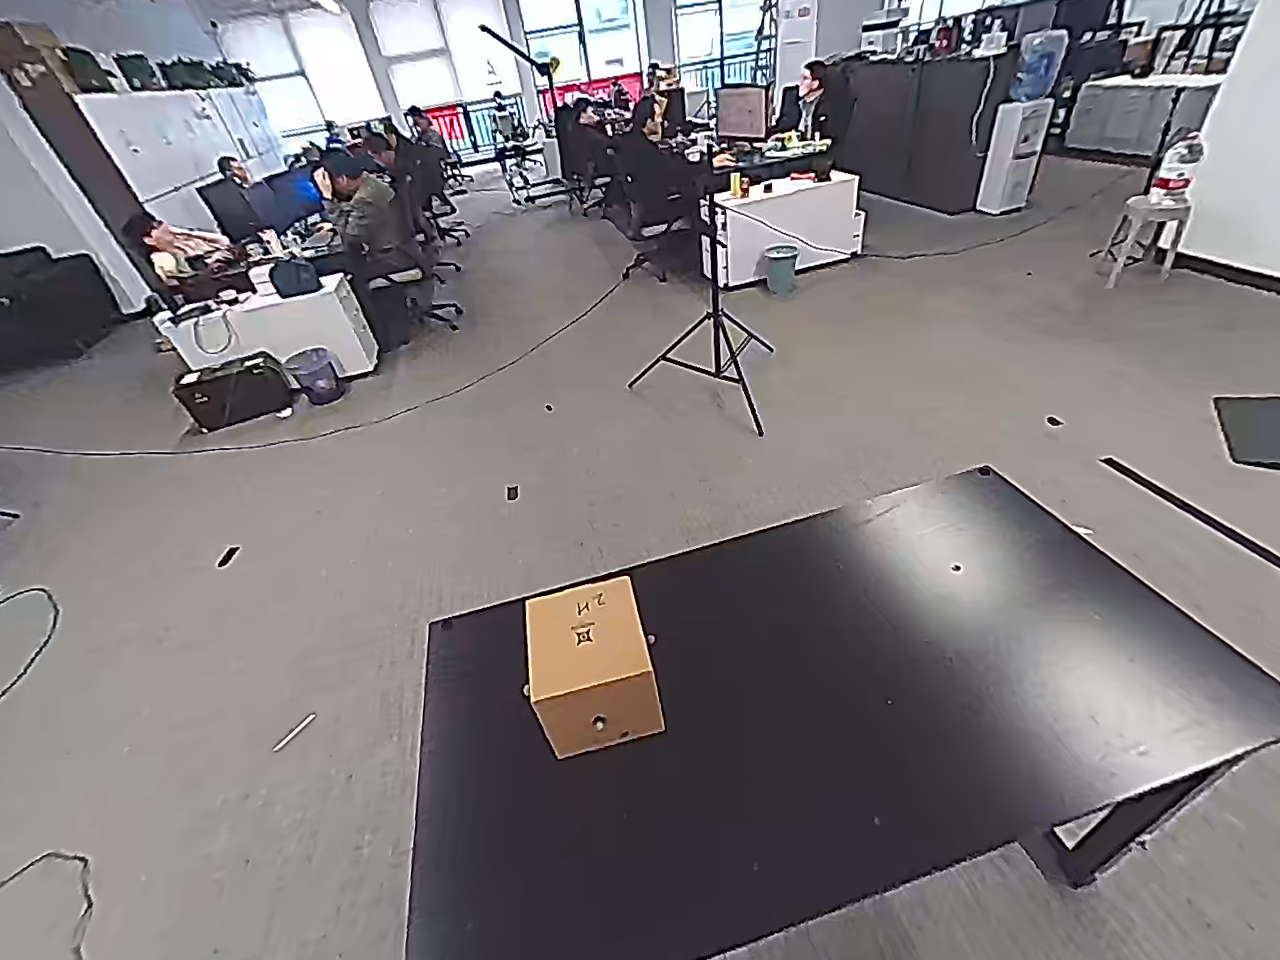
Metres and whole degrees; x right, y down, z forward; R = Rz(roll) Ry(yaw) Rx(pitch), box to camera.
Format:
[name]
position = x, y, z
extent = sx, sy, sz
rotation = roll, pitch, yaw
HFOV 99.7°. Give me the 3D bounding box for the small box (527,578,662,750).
[small box]
position = -0.069, 0.286, 0.827
extent = 0.168, 0.176, 0.179
rotation = -13, 38, -4
